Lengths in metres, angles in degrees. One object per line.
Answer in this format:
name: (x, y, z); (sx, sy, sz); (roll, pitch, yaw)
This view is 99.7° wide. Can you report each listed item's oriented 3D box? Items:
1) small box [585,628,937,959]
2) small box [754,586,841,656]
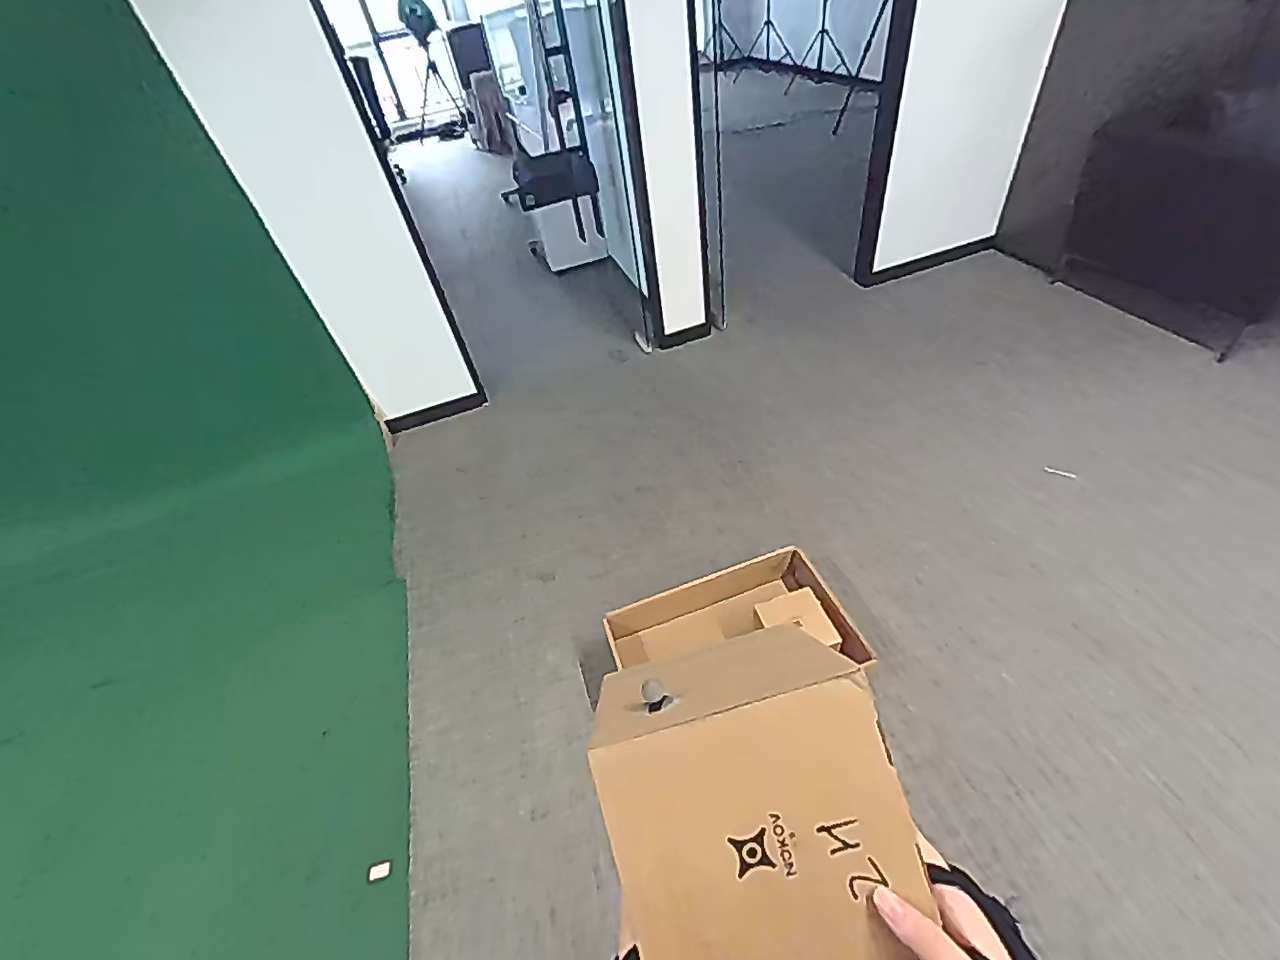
small box: (0.071, 0.223, 0.400); (0.179, 0.176, 0.168); (-16, 86, -1)
small box: (0.419, 0.423, 1.460); (0.168, 0.176, 0.179); (-17, 45, -6)
